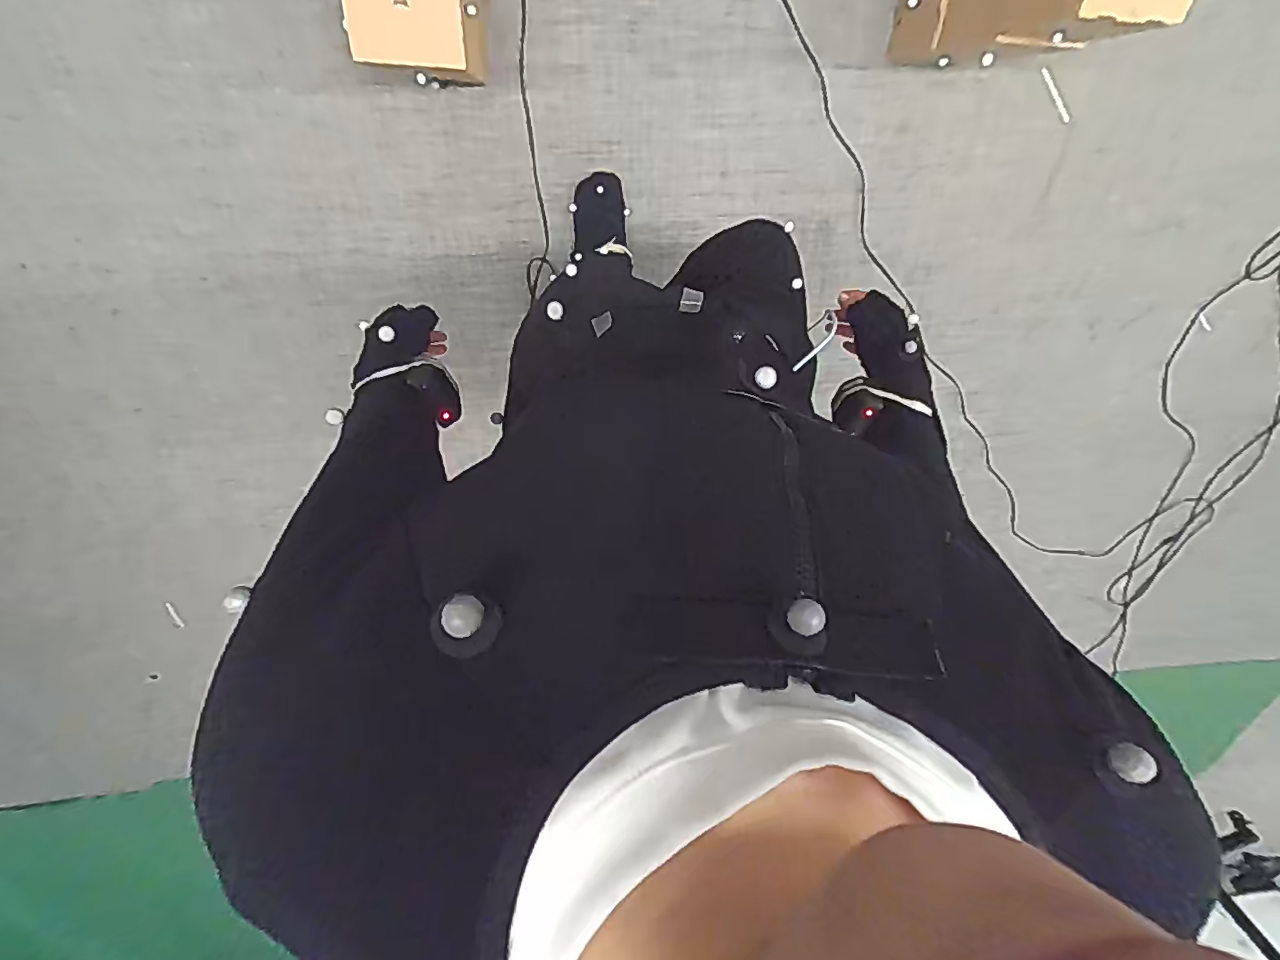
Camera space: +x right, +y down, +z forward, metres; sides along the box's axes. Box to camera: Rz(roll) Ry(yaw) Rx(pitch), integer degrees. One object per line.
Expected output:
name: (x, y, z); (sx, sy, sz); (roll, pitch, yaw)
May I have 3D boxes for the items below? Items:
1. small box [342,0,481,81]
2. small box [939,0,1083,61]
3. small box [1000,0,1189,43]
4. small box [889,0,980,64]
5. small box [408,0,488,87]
small box: (-0.348, -0.735, 0.835); (0.168, 0.176, 0.179); (0, 122, -7)
small box: (0.639, -0.823, 0.902); (0.168, 0.176, 0.179); (-2, 123, -7)
small box: (0.658, -0.743, 0.761); (0.168, 0.176, 0.179); (-2, 123, -7)
small box: (0.613, -0.912, 1.038); (0.179, 0.176, 0.168); (-2, 123, -6)
small box: (-0.366, -0.818, 0.956); (0.168, 0.176, 0.179); (1, 122, -8)
